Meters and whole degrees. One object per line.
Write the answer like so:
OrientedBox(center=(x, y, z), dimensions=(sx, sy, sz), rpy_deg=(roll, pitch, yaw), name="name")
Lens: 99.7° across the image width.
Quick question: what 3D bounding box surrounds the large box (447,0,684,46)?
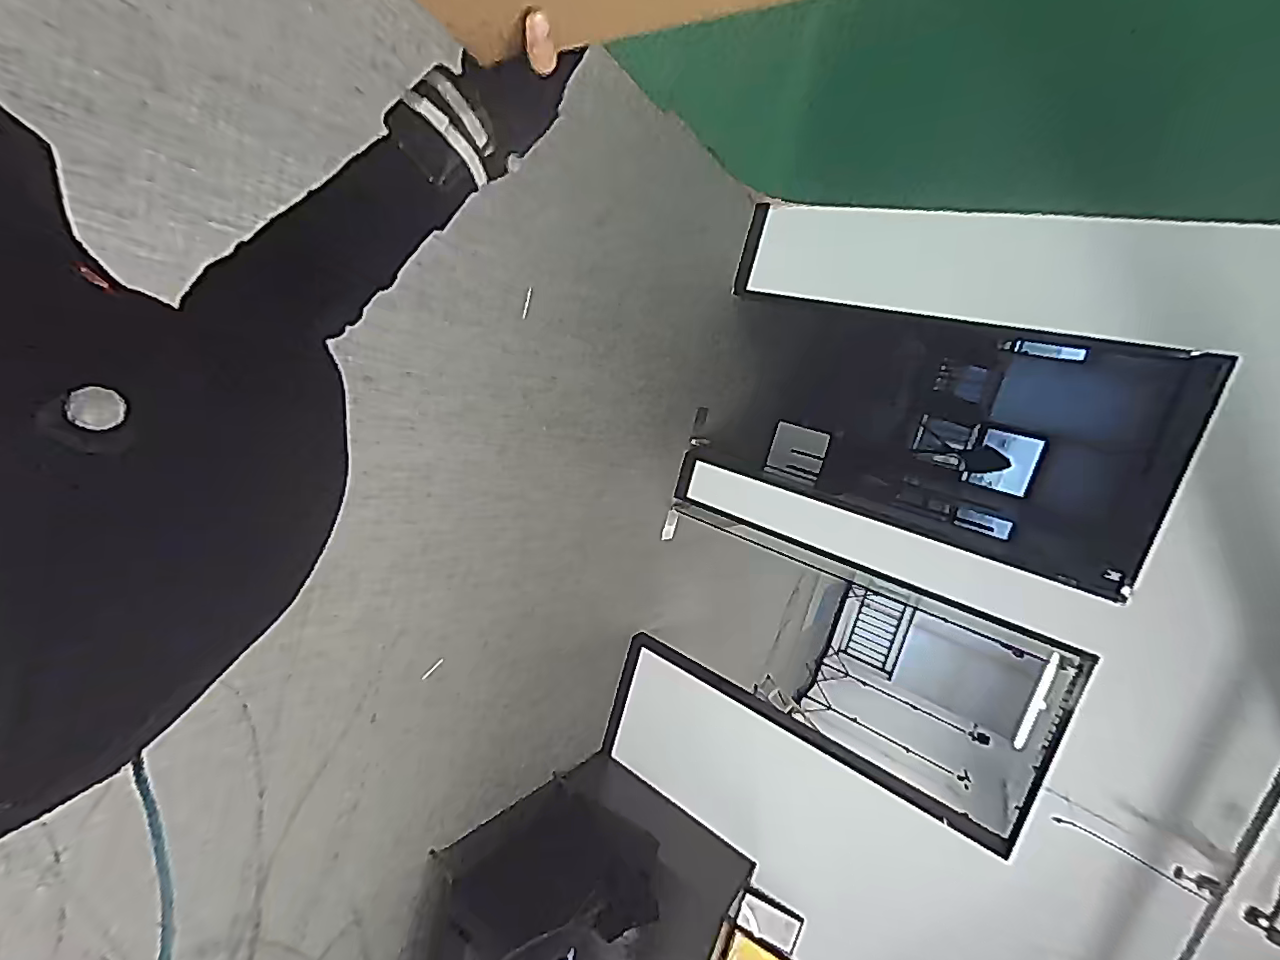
OrientedBox(center=(-0.034, -0.426, 0.141), dimensions=(0.408, 0.320, 0.320), rpy_deg=(-22, 115, -69), name="large box")
